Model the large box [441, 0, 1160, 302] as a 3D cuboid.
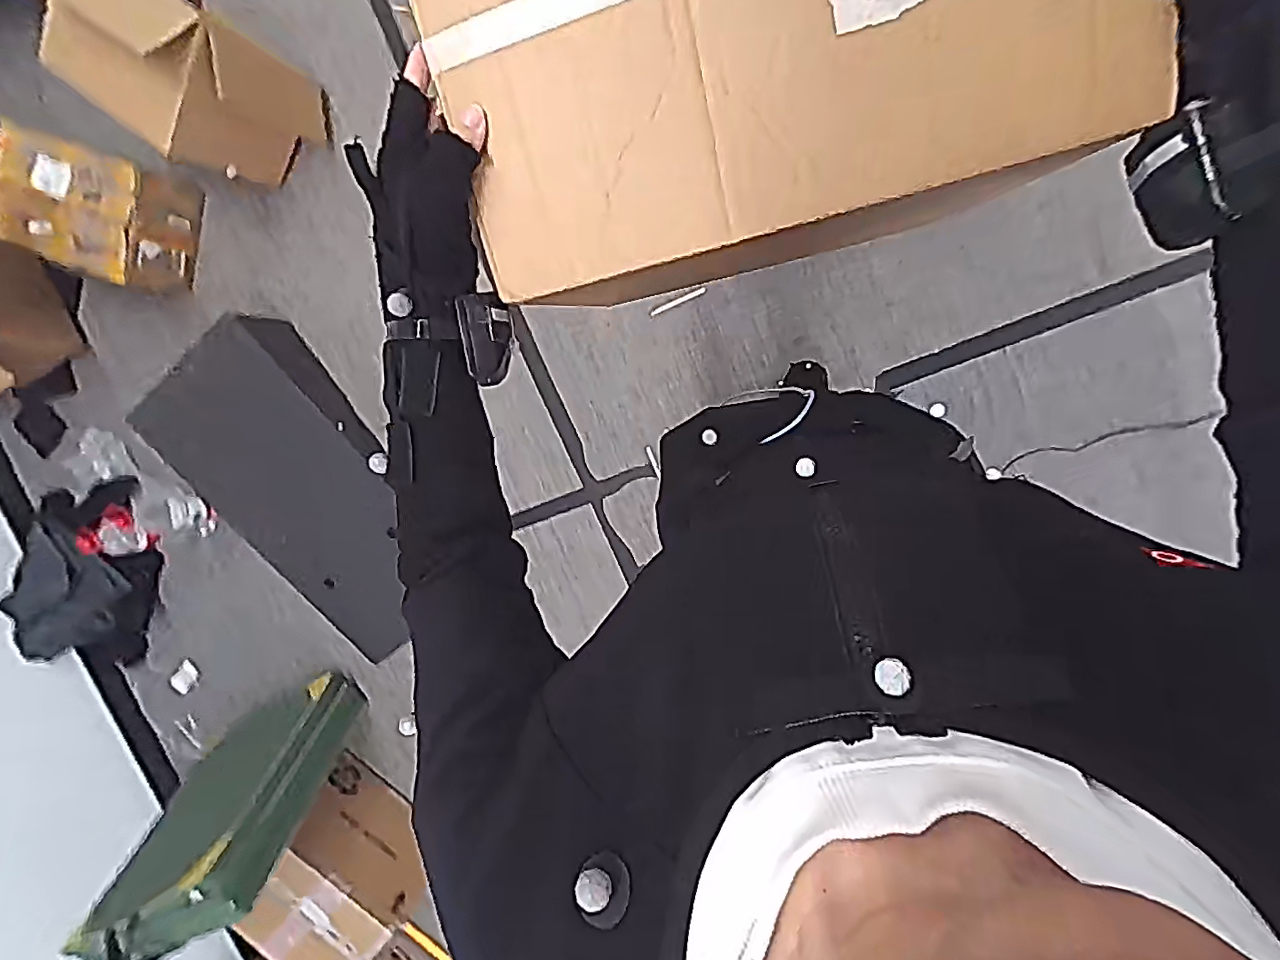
[{"bbox_3d":[0.091,-0.358,0.453,0.408,0.320,0.320,-10,105,13],"label":"large box"}]
